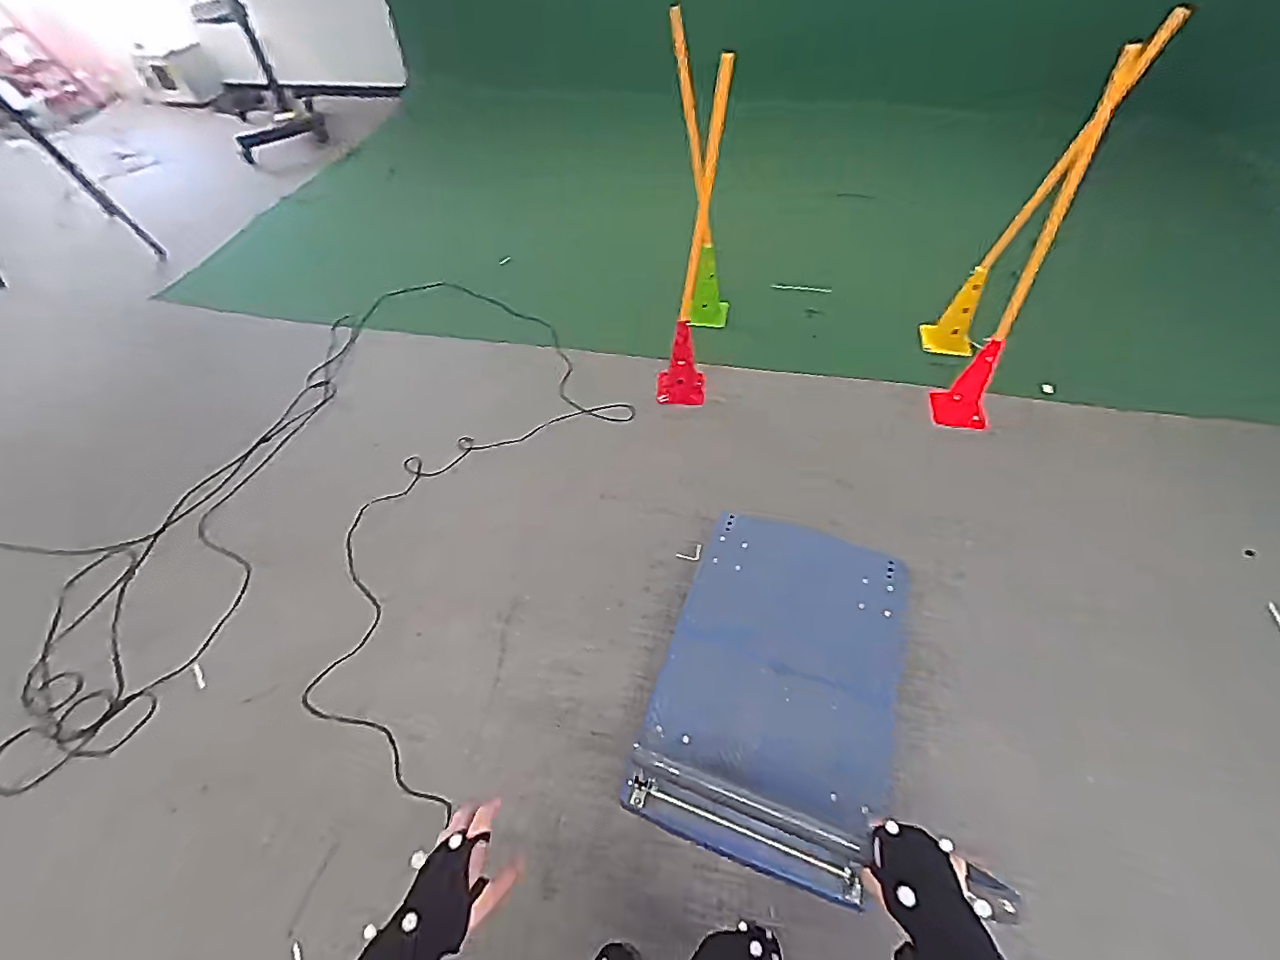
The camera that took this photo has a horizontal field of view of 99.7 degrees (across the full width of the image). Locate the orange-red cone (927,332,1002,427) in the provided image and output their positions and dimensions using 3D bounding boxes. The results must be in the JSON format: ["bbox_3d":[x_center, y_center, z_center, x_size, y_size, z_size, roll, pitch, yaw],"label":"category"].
[{"bbox_3d":[1.262,-0.401,2.043,0.198,0.360,0.199,9,51,8],"label":"orange-red cone"}]

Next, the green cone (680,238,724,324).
[{"bbox_3d":[0.296,-0.929,2.494,0.200,0.368,0.202,7,52,9],"label":"green cone"}]
